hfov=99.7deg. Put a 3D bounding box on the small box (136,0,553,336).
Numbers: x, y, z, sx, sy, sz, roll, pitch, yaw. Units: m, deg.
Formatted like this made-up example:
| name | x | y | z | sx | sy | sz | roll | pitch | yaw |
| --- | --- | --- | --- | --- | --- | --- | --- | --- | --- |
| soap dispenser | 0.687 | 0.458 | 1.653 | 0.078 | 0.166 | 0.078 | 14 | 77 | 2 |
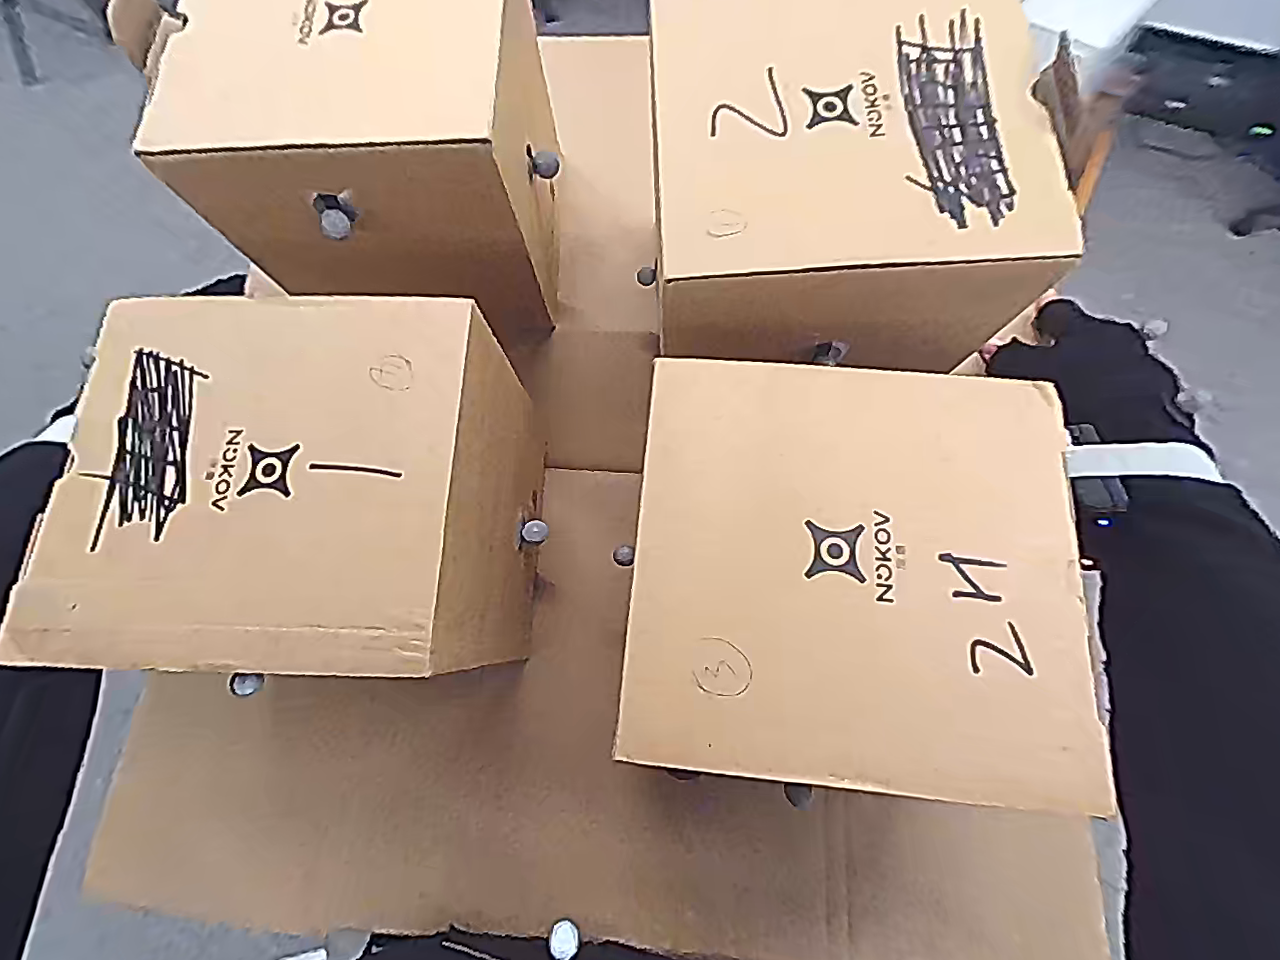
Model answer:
| name | x | y | z | sx | sy | sz | roll | pitch | yaw |
| --- | --- | --- | --- | --- | --- | --- | --- | --- | --- |
| small box | -0.158 | -0.210 | 0.358 | 0.179 | 0.176 | 0.168 | -2 | 75 | 3 |
